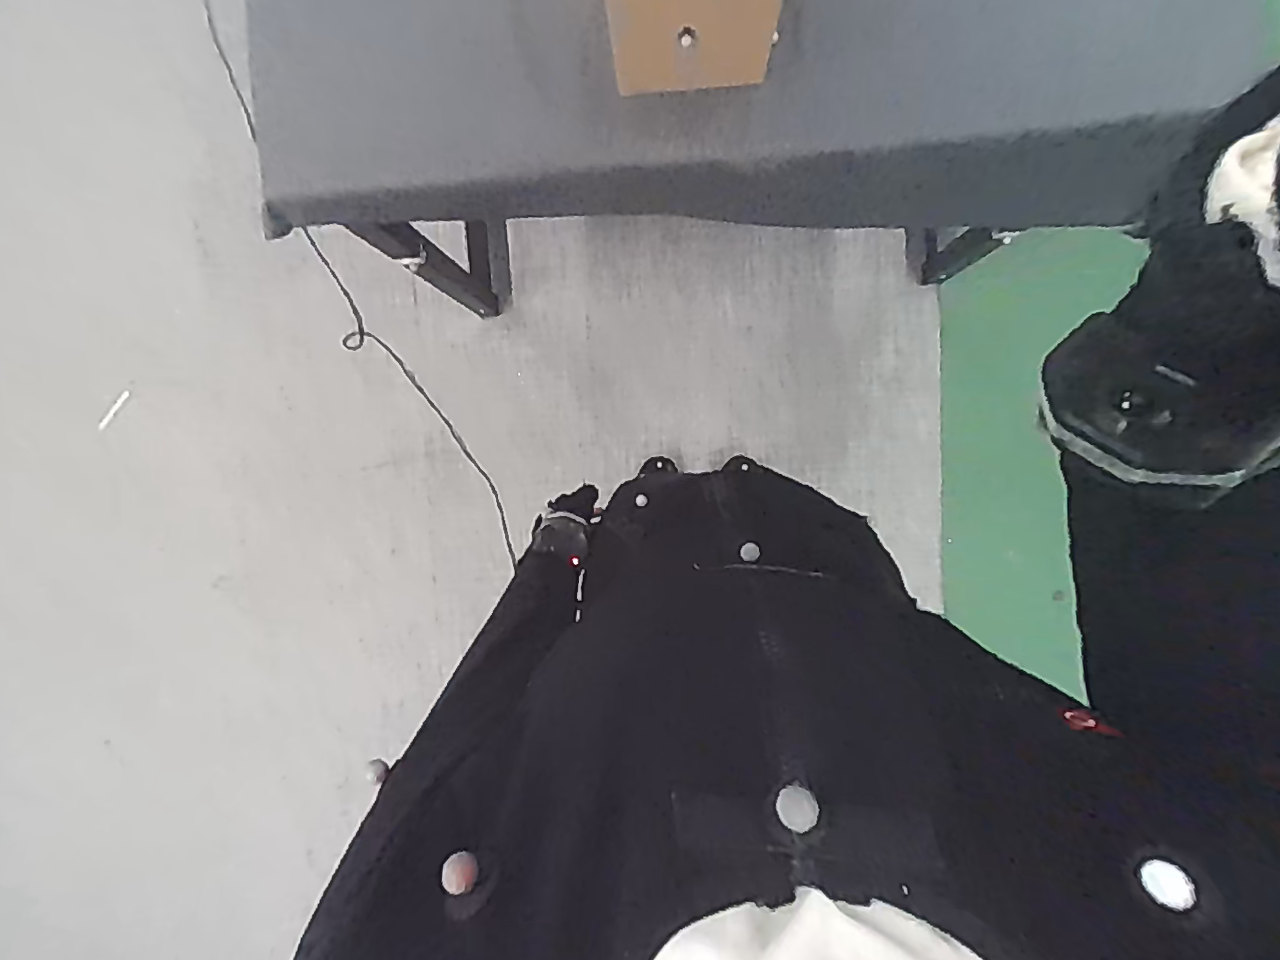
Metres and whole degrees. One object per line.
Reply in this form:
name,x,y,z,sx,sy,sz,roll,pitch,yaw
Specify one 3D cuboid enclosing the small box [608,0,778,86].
small box,0.055,-0.560,0.574,0.179,0.176,0.168,-2,93,5
